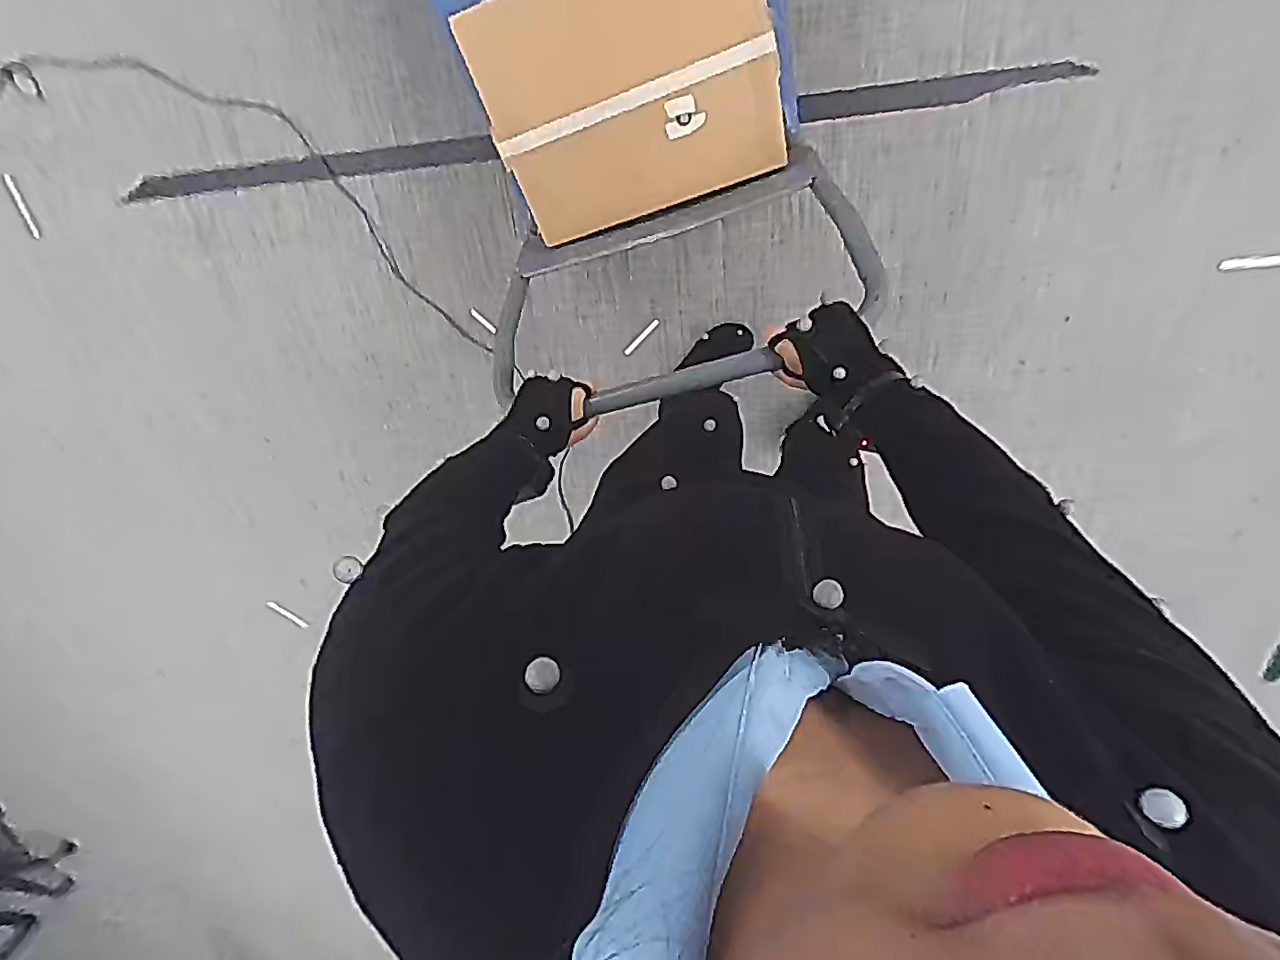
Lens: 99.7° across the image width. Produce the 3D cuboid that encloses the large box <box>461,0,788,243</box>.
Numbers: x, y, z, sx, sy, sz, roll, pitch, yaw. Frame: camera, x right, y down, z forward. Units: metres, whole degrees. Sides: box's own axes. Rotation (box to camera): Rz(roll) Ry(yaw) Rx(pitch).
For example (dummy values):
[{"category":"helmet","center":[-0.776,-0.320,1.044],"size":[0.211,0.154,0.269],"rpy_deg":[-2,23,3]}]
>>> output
[{"category":"large box","center":[-0.010,-0.656,0.888],"size":[0.408,0.320,0.320],"rpy_deg":[-15,132,12]}]
